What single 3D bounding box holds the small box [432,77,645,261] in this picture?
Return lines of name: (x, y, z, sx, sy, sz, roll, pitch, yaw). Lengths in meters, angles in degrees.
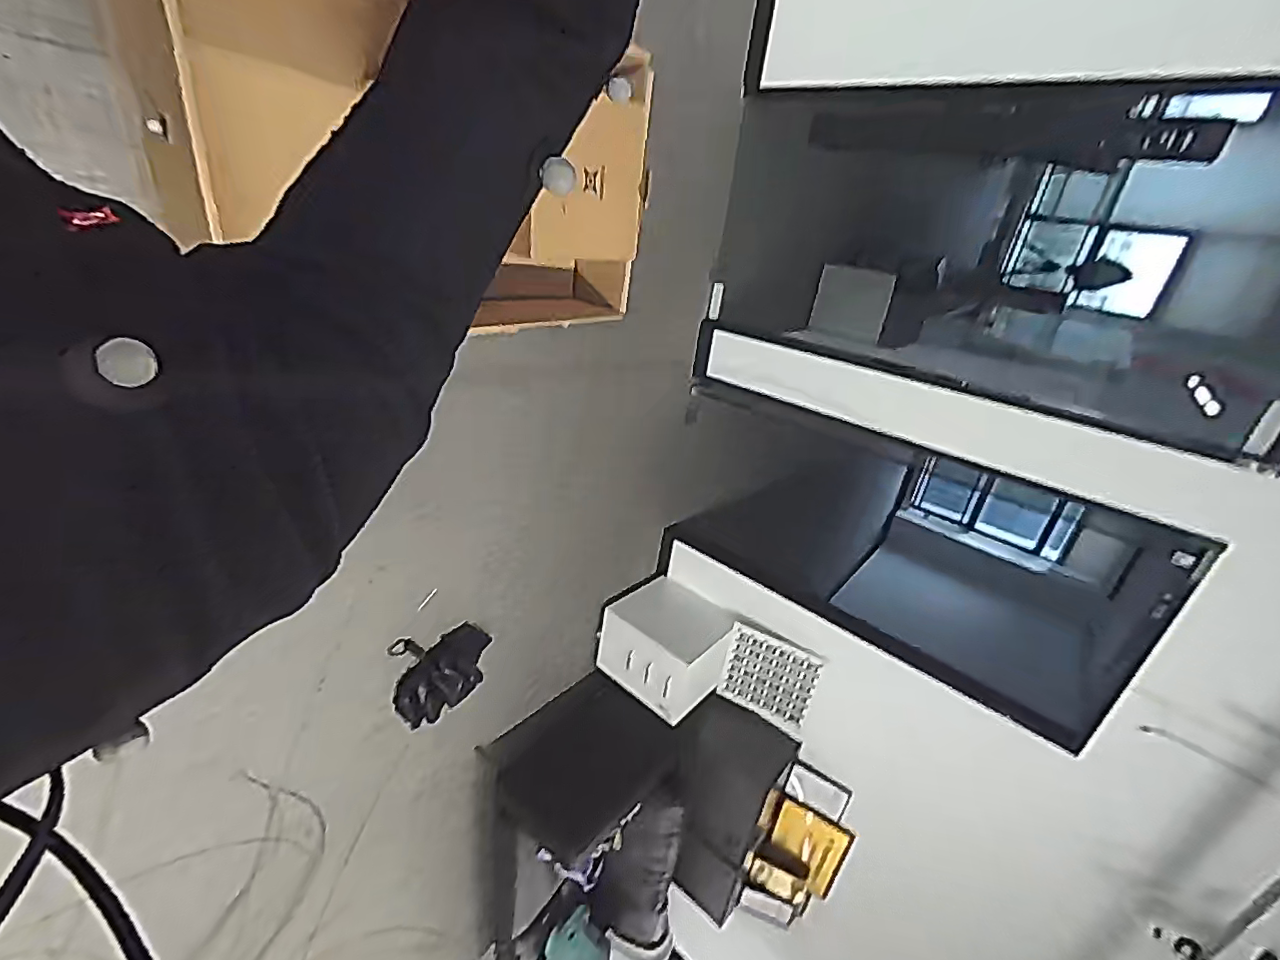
small box: (-0.119, -0.361, 0.641, 0.179, 0.176, 0.168, -25, 131, -45)
